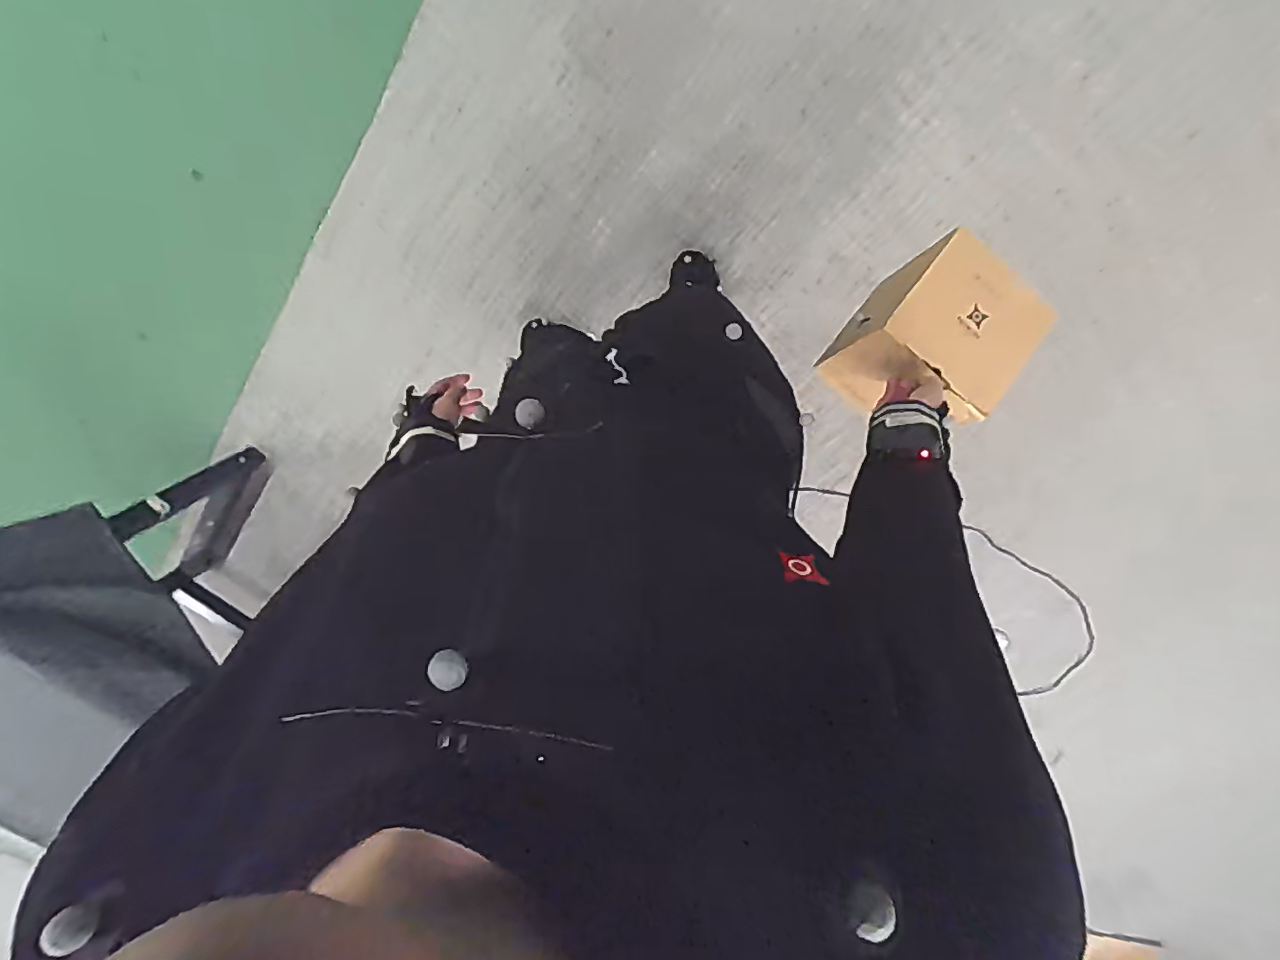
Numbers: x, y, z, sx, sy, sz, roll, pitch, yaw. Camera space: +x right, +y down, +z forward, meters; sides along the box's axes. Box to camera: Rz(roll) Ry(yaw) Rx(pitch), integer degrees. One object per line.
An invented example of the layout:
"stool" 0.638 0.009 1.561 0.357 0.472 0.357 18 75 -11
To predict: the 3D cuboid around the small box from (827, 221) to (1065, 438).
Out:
"small box" 0.369 -0.174 0.688 0.168 0.176 0.179 41 79 -6
